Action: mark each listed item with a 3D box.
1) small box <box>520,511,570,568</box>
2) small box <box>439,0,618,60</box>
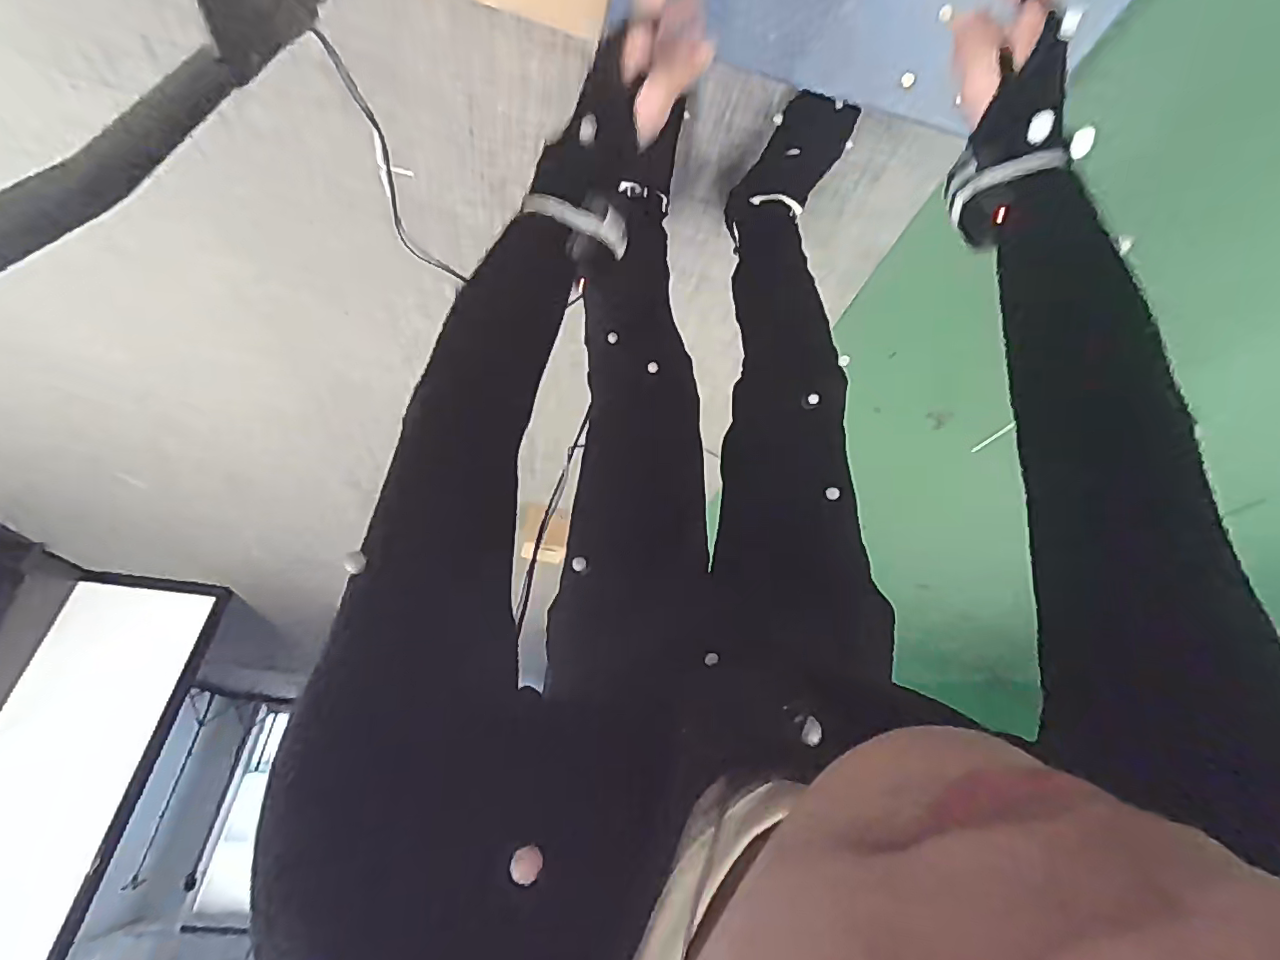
[{"bbox_3d":[-0.389,0.244,2.220,0.168,0.176,0.179,14,148,-13],"label":"small box"},{"bbox_3d":[-0.092,-0.549,0.506,0.179,0.176,0.168,12,148,-12],"label":"small box"}]
